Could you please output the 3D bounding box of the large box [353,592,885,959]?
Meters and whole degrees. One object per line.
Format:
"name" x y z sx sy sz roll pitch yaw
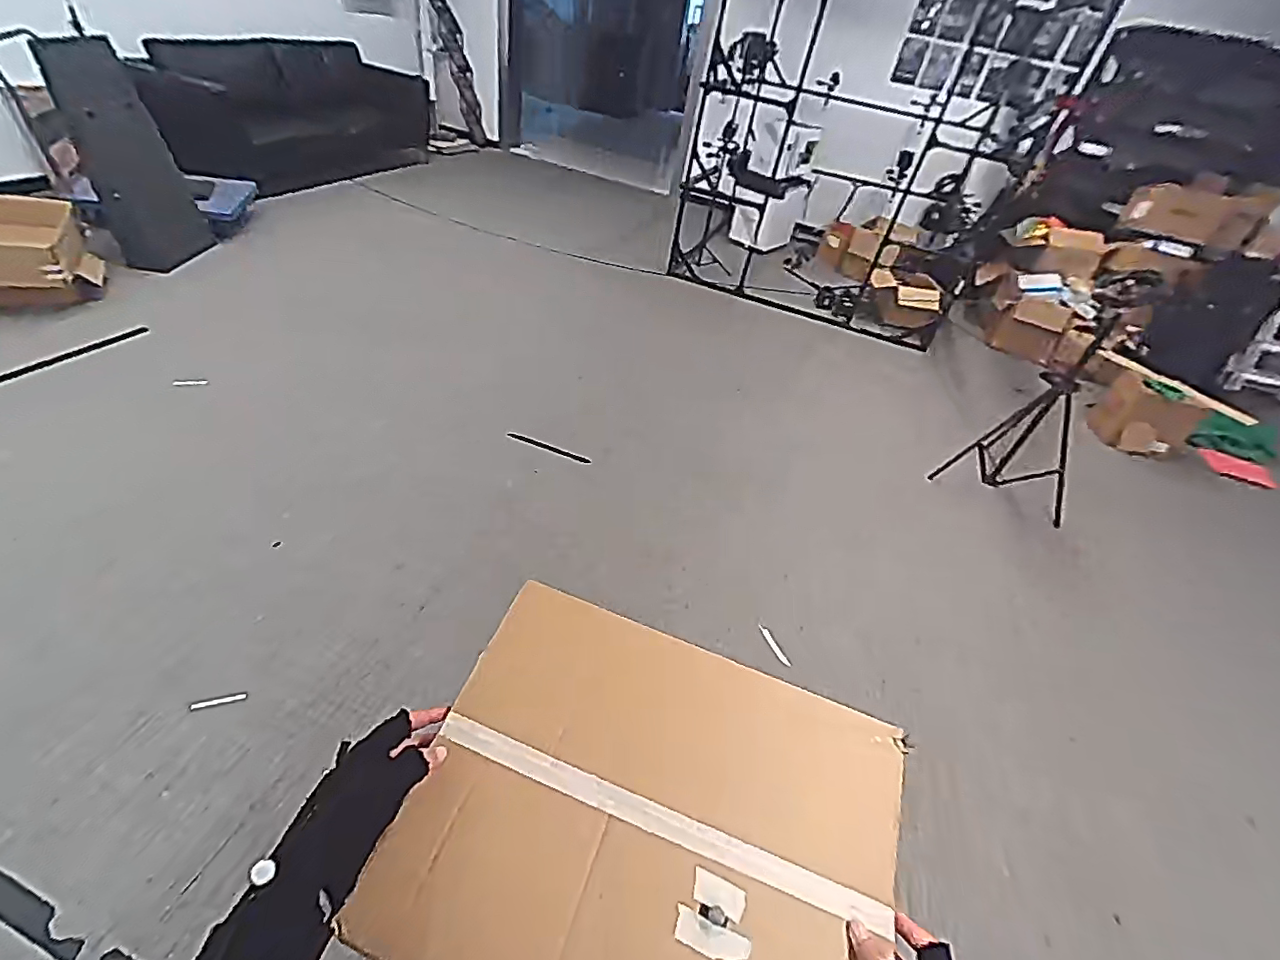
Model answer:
"large box" -0.005 0.384 0.596 0.408 0.320 0.320 20 54 8
